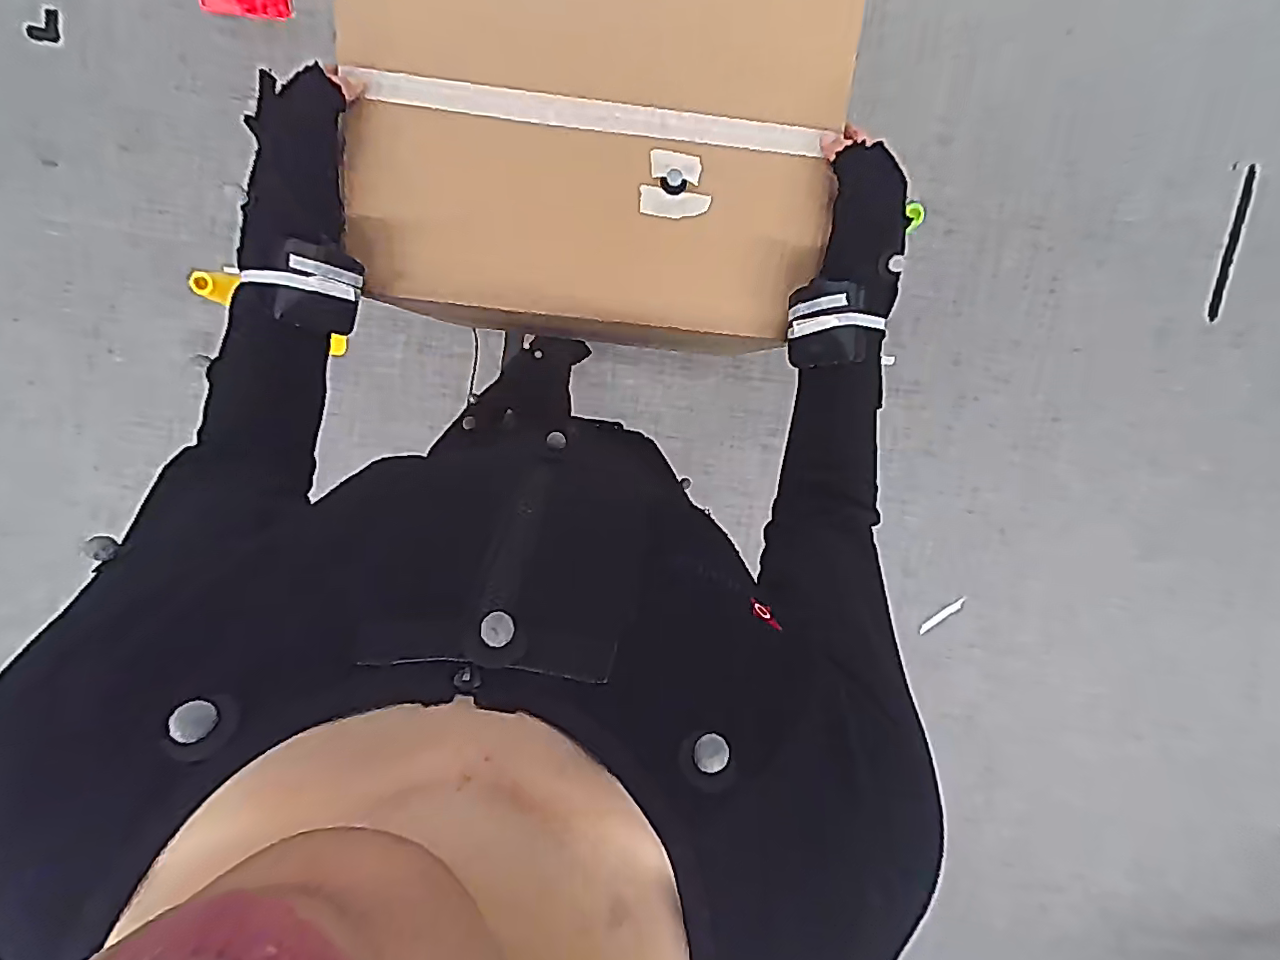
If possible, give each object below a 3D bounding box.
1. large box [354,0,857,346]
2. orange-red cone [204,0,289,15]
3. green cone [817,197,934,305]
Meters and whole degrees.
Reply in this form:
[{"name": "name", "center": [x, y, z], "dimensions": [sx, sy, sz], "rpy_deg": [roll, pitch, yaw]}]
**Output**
[{"name": "large box", "center": [-0.040, -0.328, 0.589], "dimensions": [0.408, 0.320, 0.320], "rpy_deg": [5, 101, -4]}, {"name": "orange-red cone", "center": [-0.883, -1.131, 1.045], "dimensions": [0.198, 0.360, 0.199], "rpy_deg": [5, 101, -3]}, {"name": "green cone", "center": [0.530, -0.548, 1.214], "dimensions": [0.202, 0.368, 0.200], "rpy_deg": [-30, 101, 1]}]
